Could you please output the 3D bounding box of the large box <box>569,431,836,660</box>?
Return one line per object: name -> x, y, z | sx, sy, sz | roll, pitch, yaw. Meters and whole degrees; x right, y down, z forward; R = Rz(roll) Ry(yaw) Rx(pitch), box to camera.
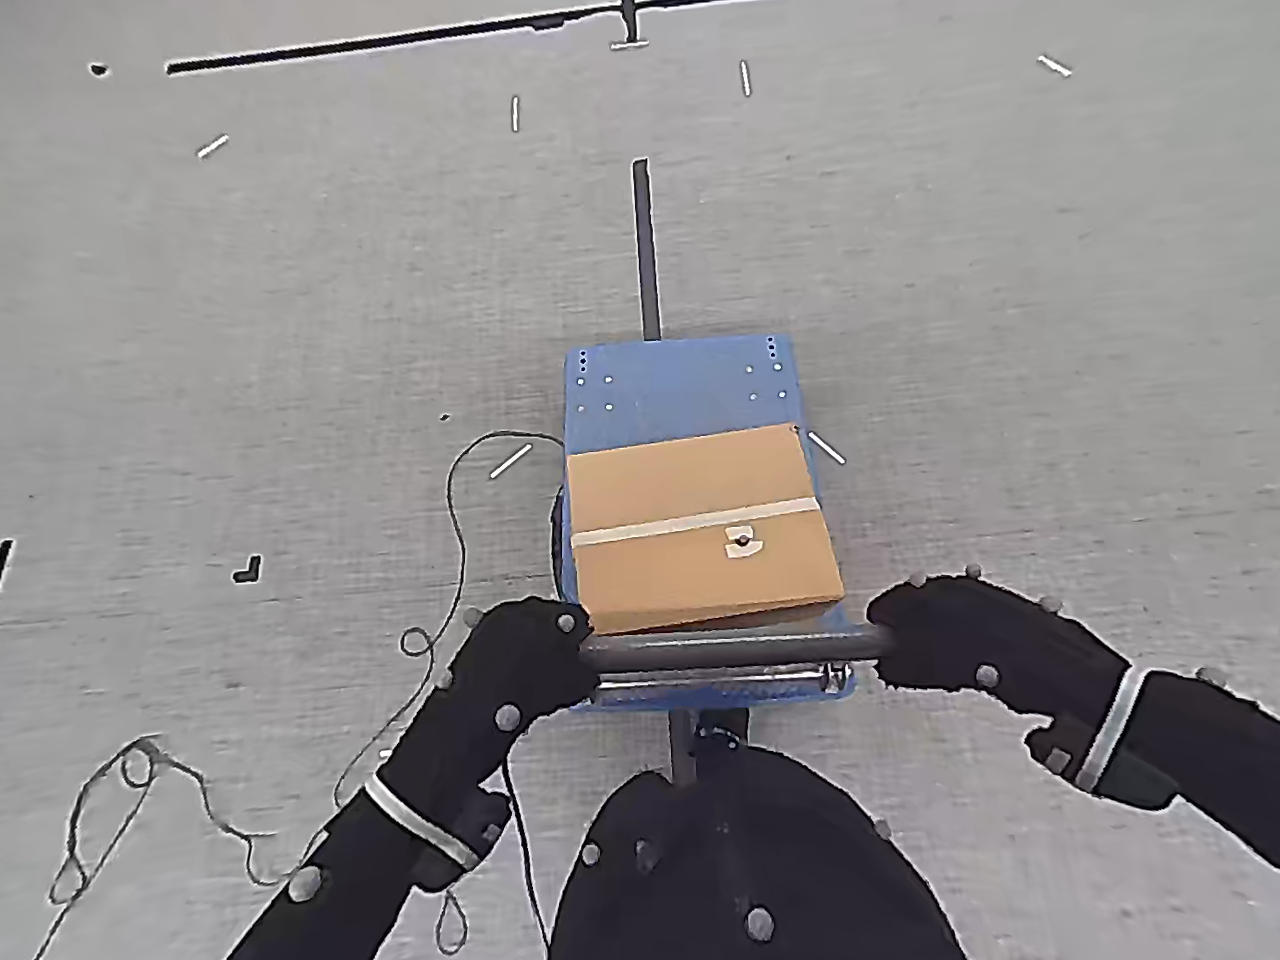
large box -> 0.097, 0.140, 1.037 | 0.408, 0.320, 0.320 | -8, 66, -1
